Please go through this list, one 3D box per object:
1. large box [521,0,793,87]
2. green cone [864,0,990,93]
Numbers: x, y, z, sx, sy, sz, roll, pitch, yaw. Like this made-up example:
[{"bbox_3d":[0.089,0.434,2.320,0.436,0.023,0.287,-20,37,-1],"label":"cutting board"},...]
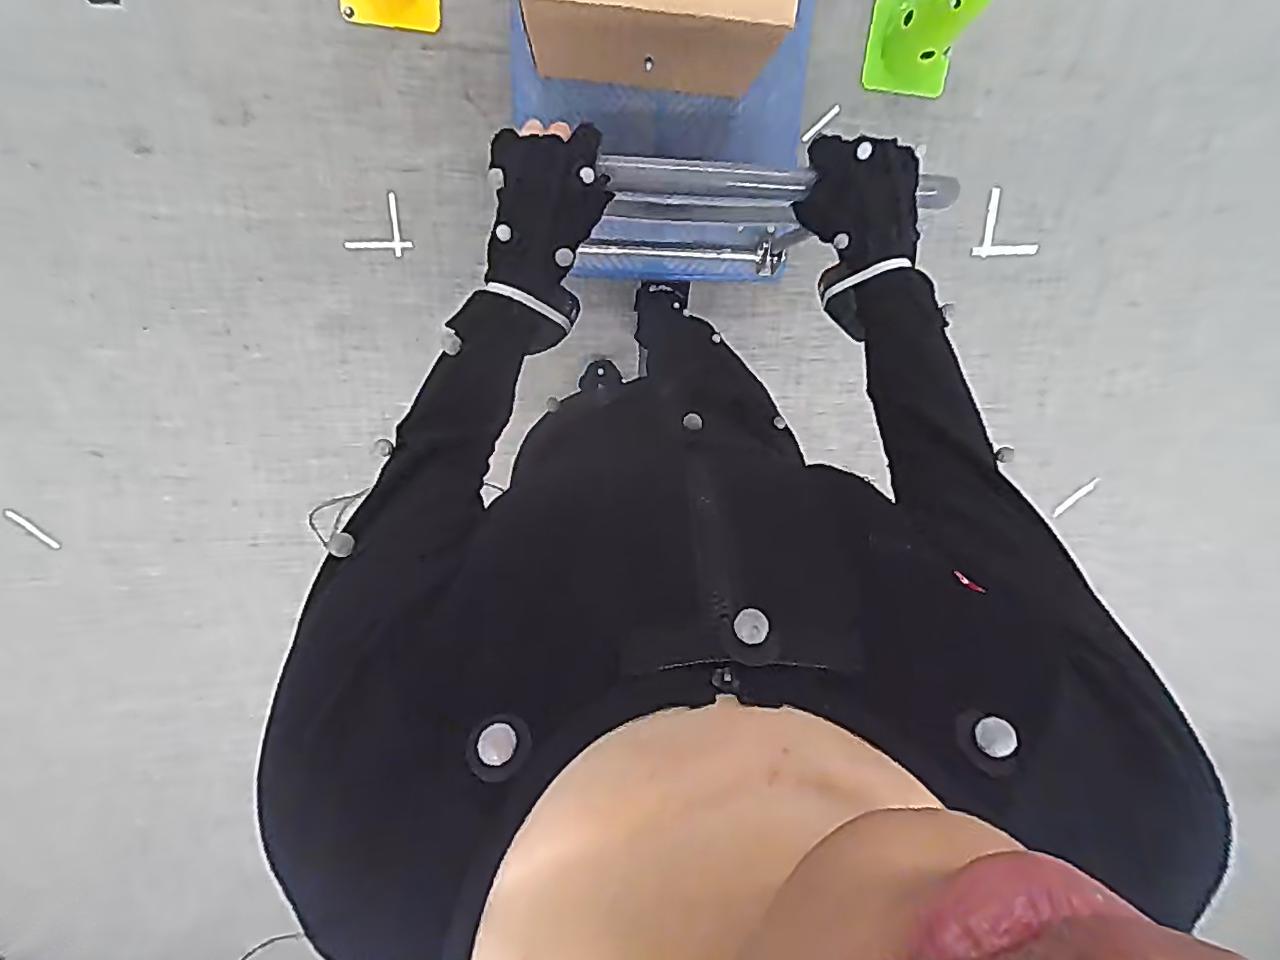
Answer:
[{"bbox_3d":[0.024,-0.874,0.871,0.408,0.320,0.320,2,109,-5],"label":"large box"},{"bbox_3d":[0.629,-0.942,1.054,0.202,0.368,0.200,3,108,-7],"label":"green cone"}]
